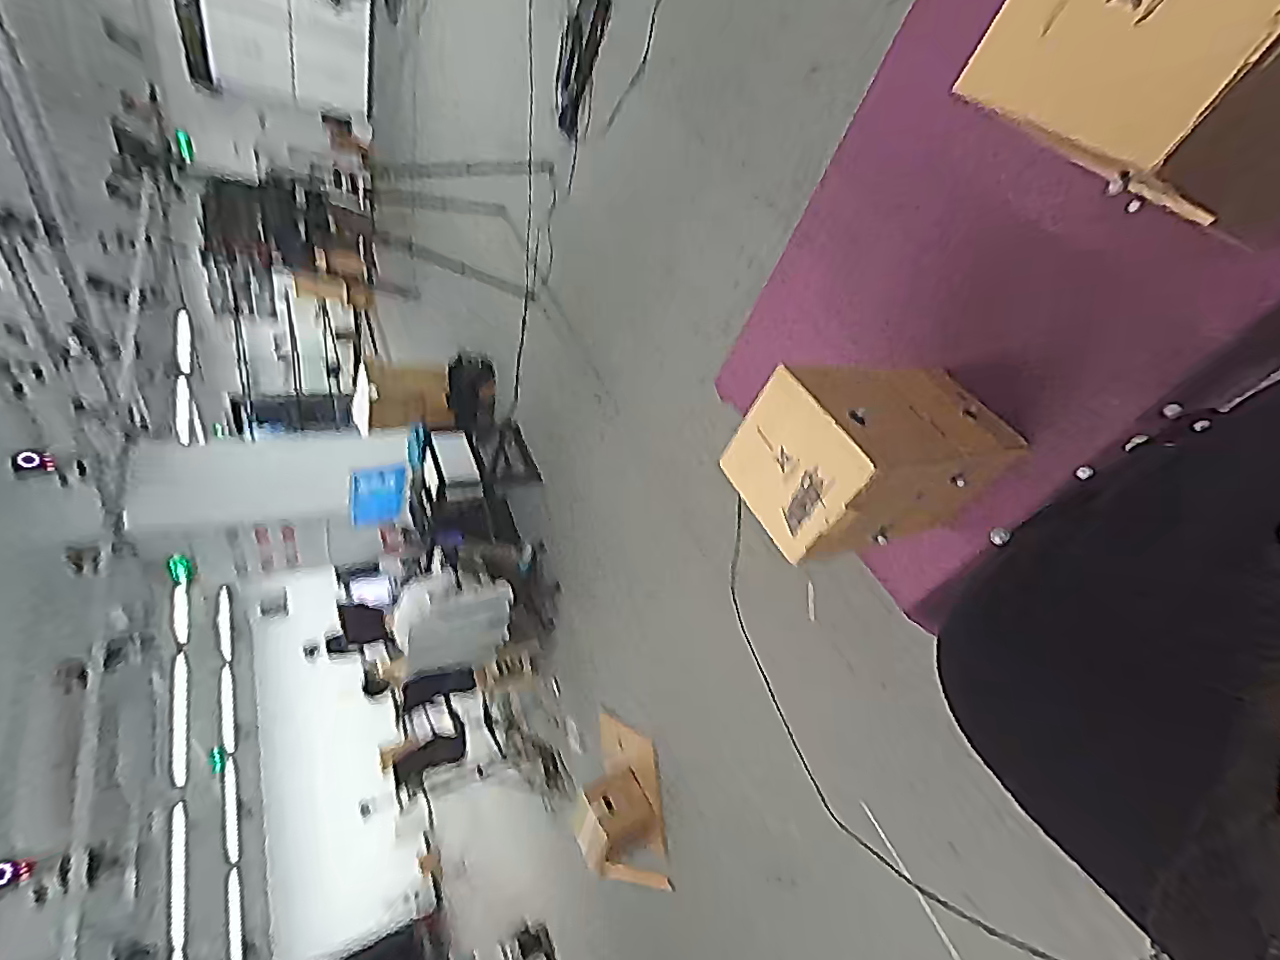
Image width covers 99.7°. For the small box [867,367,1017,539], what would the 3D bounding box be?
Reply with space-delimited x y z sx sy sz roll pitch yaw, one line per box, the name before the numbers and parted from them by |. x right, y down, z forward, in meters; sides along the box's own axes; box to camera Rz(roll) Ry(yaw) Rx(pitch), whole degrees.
small box | 0.380 -0.040 0.769 0.168 0.176 0.179 58 139 33

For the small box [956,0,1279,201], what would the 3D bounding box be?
small box | 0.393 -0.327 0.395 0.179 0.176 0.168 59 139 33

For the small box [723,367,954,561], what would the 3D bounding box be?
small box | 0.243 -0.026 0.679 0.179 0.176 0.168 60 139 34

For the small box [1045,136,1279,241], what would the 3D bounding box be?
small box | 0.531 -0.338 0.482 0.168 0.176 0.179 59 140 31
